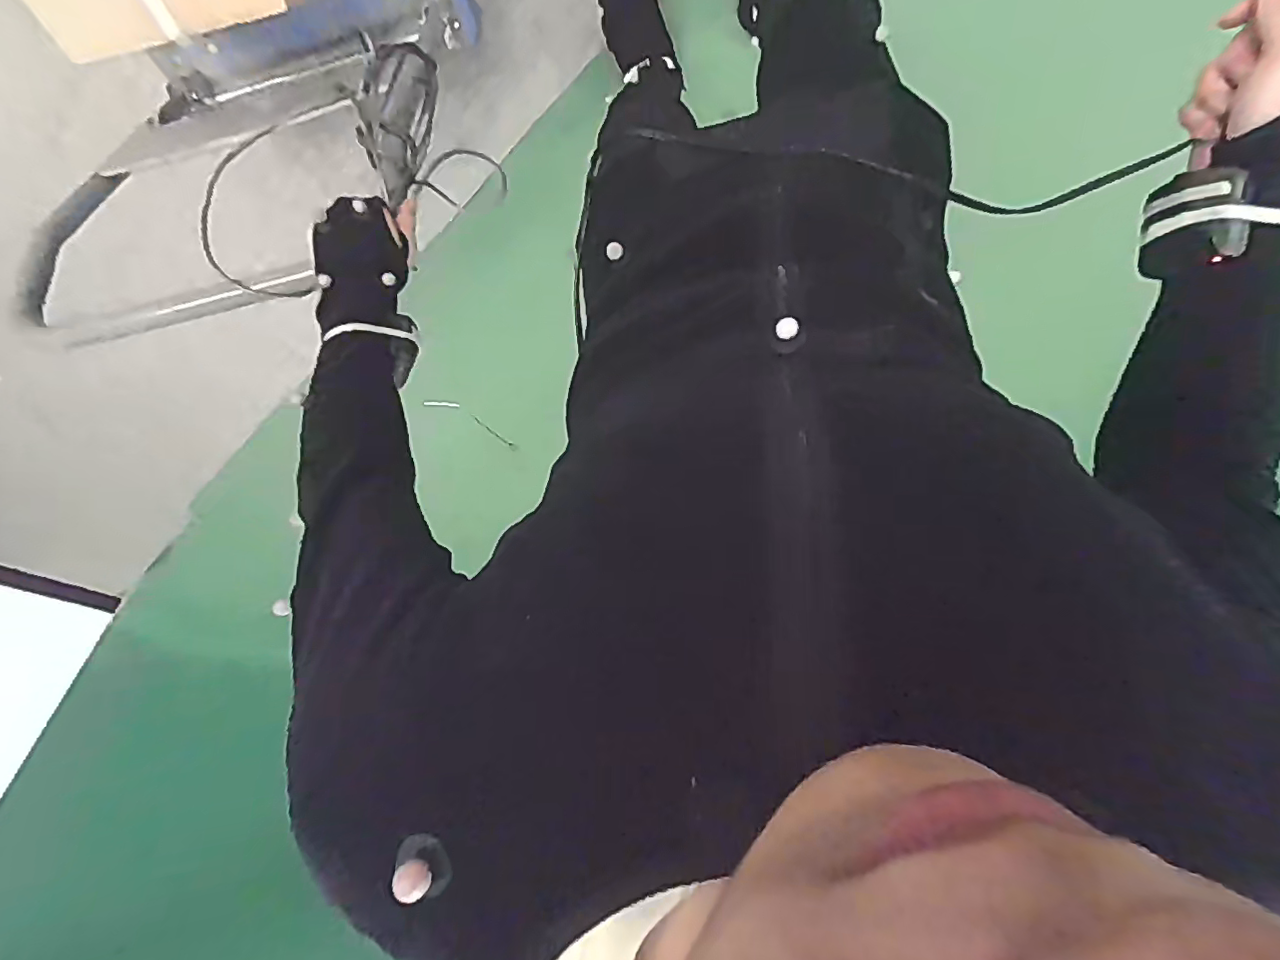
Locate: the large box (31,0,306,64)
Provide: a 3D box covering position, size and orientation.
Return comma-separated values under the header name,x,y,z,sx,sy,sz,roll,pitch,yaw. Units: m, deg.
name,x,y,z,sx,sy,sz,roll,pitch,yaw
large box,-0.633,-0.809,0.645,0.320,0.320,0.408,-10,141,4
